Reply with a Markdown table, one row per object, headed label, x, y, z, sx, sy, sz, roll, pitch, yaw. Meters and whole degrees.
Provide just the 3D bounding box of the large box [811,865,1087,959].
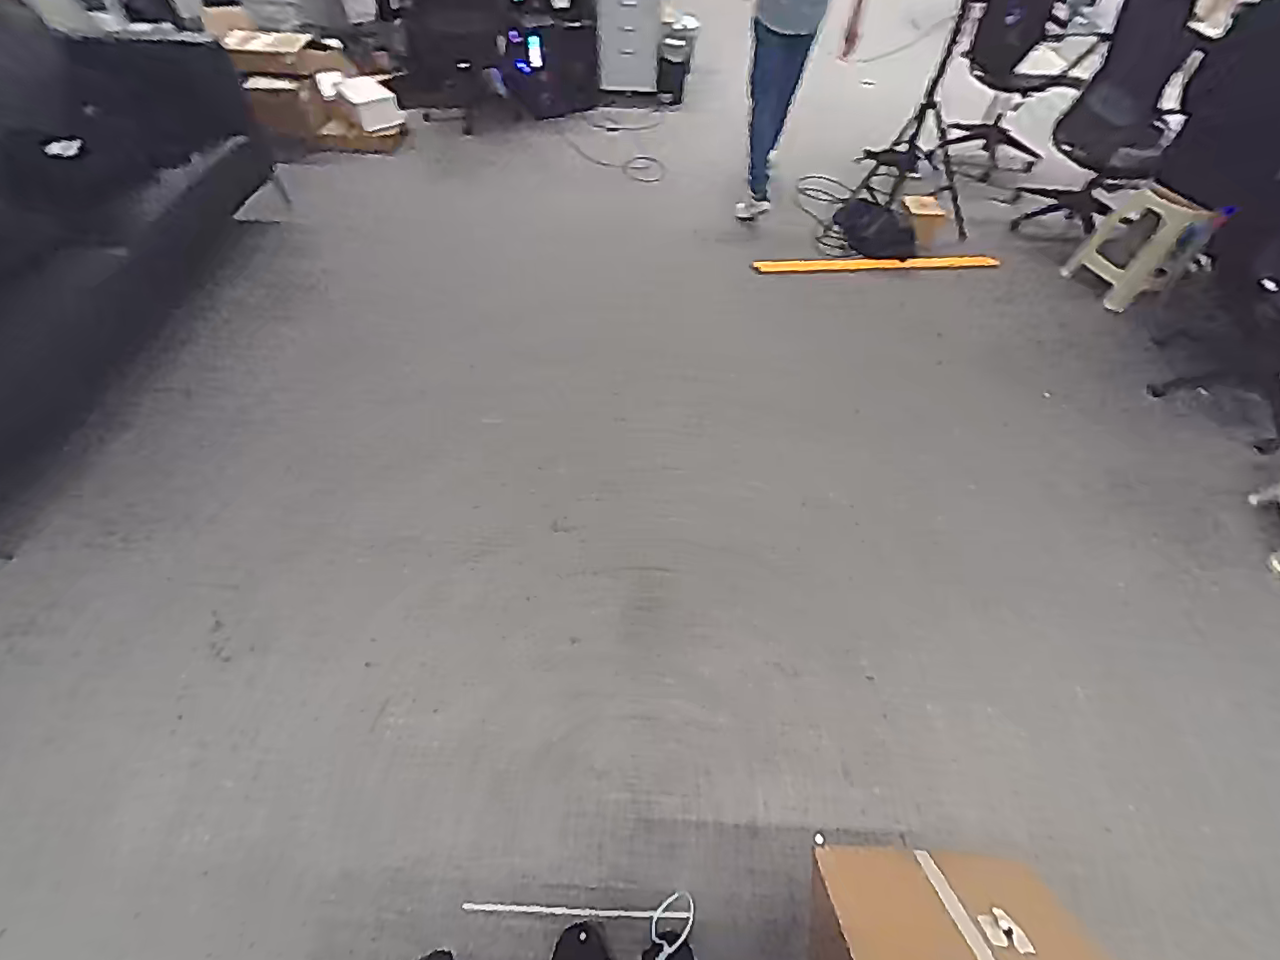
| label | x | y | z | sx | sy | sz | roll | pitch | yaw |
| --- | --- | --- | --- | --- | --- | --- | --- | --- | --- |
| large box | 0.404 | 0.750 | 0.626 | 0.320 | 0.408 | 0.320 | 2 | 94 | 3 |
